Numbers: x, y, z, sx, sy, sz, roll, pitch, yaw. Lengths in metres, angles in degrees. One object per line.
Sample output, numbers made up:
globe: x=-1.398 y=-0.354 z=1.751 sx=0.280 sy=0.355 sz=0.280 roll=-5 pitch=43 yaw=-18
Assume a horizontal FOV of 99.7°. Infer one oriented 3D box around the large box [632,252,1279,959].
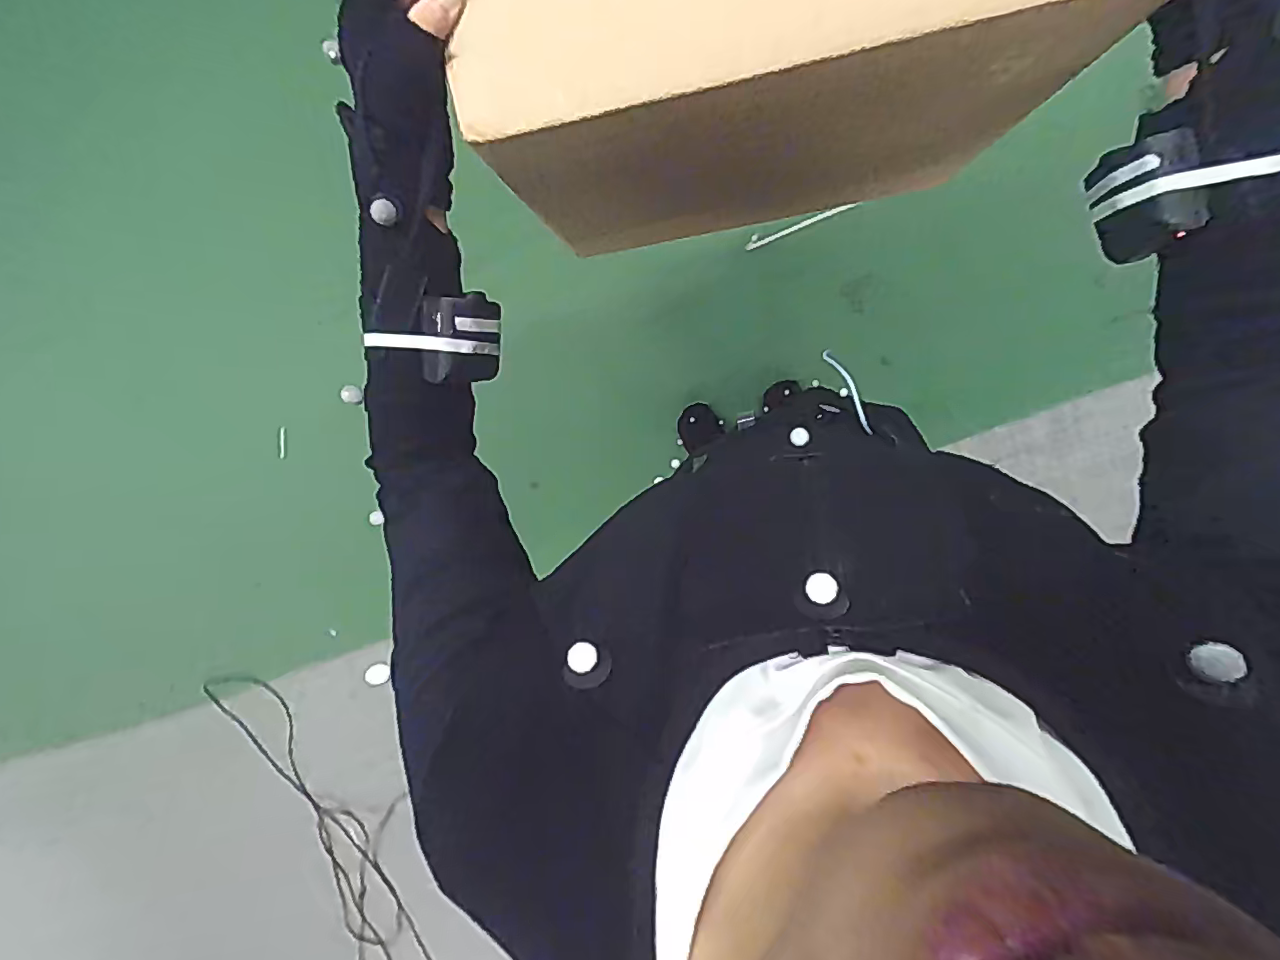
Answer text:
large box: x=0.271 y=0.137 z=0.284 sx=0.320 sy=0.320 sz=0.408 roll=9 pitch=64 yaw=44
